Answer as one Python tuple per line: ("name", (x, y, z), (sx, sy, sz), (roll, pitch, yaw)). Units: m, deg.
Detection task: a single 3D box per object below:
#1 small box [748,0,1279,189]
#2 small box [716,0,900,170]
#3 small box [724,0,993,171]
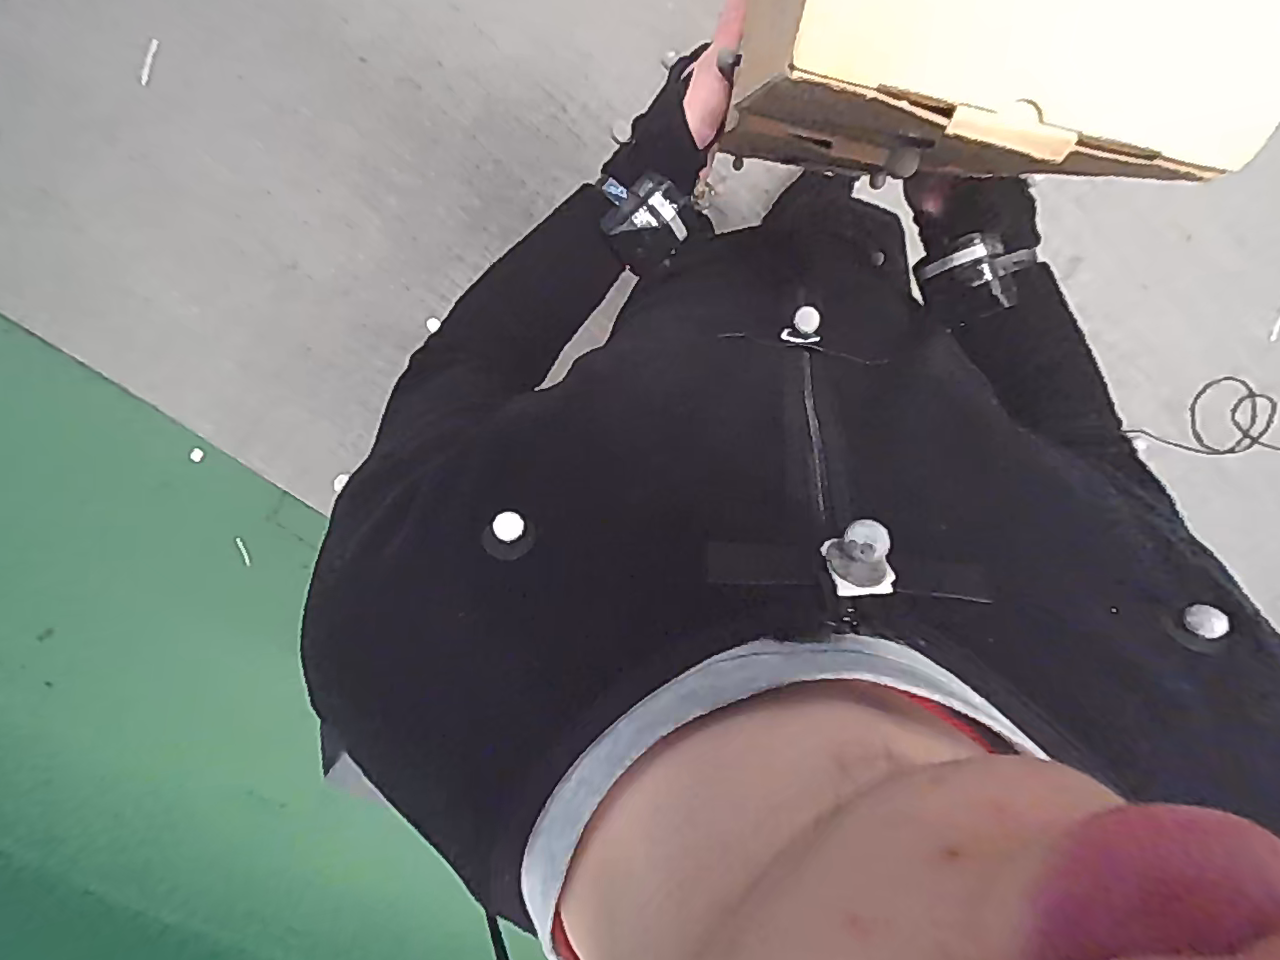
("small box", (0.146, -0.232, 0.209), (0.168, 0.176, 0.179), (11, 122, -3))
("small box", (0.166, -0.393, 0.491), (0.168, 0.176, 0.179), (9, 120, 0))
("small box", (0.154, -0.313, 0.351), (0.168, 0.176, 0.179), (8, 120, -2))
